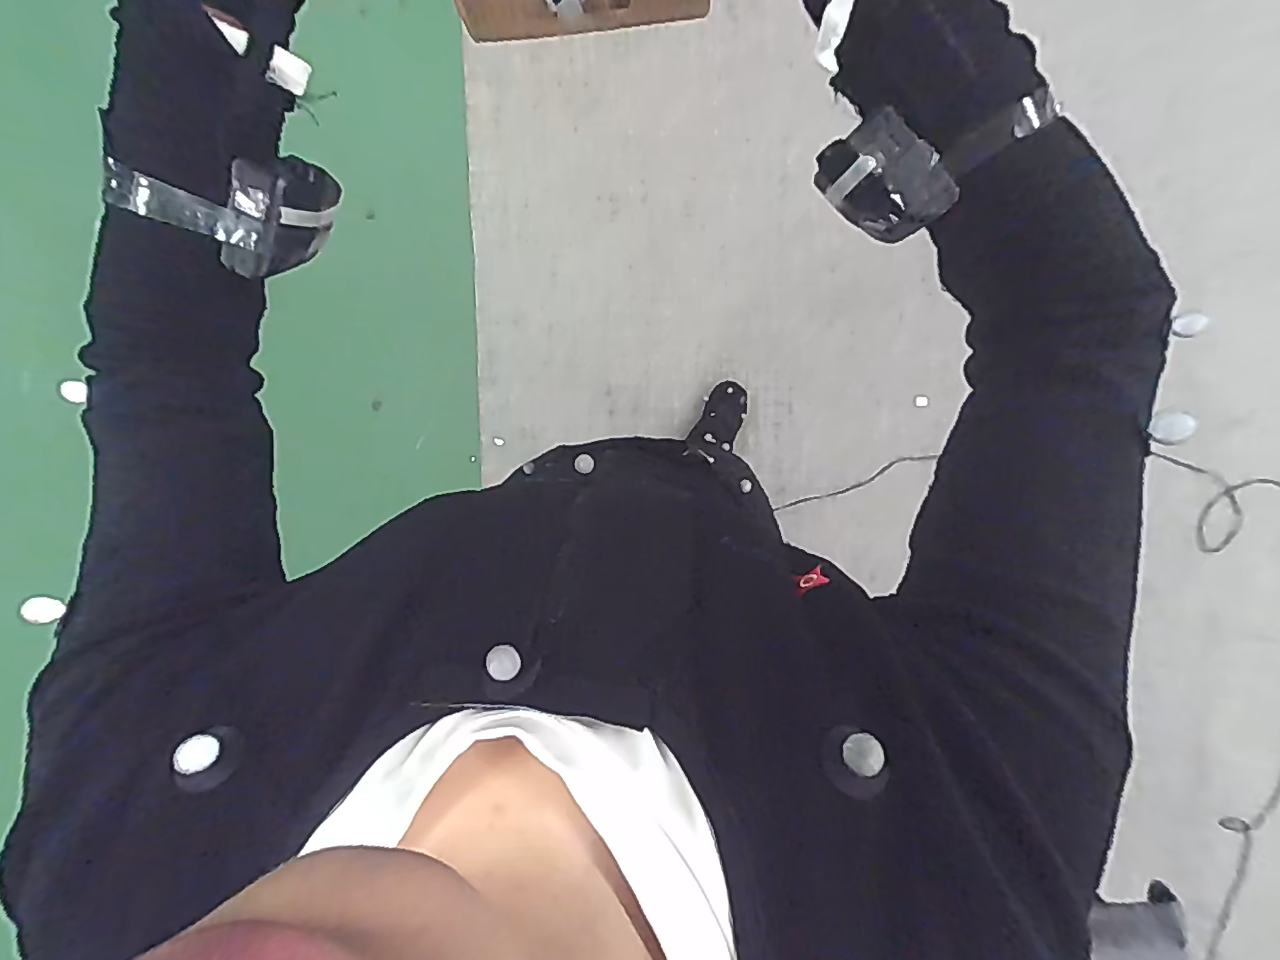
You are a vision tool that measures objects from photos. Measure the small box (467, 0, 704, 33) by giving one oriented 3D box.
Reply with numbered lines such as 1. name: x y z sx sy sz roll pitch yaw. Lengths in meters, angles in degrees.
1. small box: -0.042 -0.391 0.282 0.168 0.176 0.179 -4 92 2
